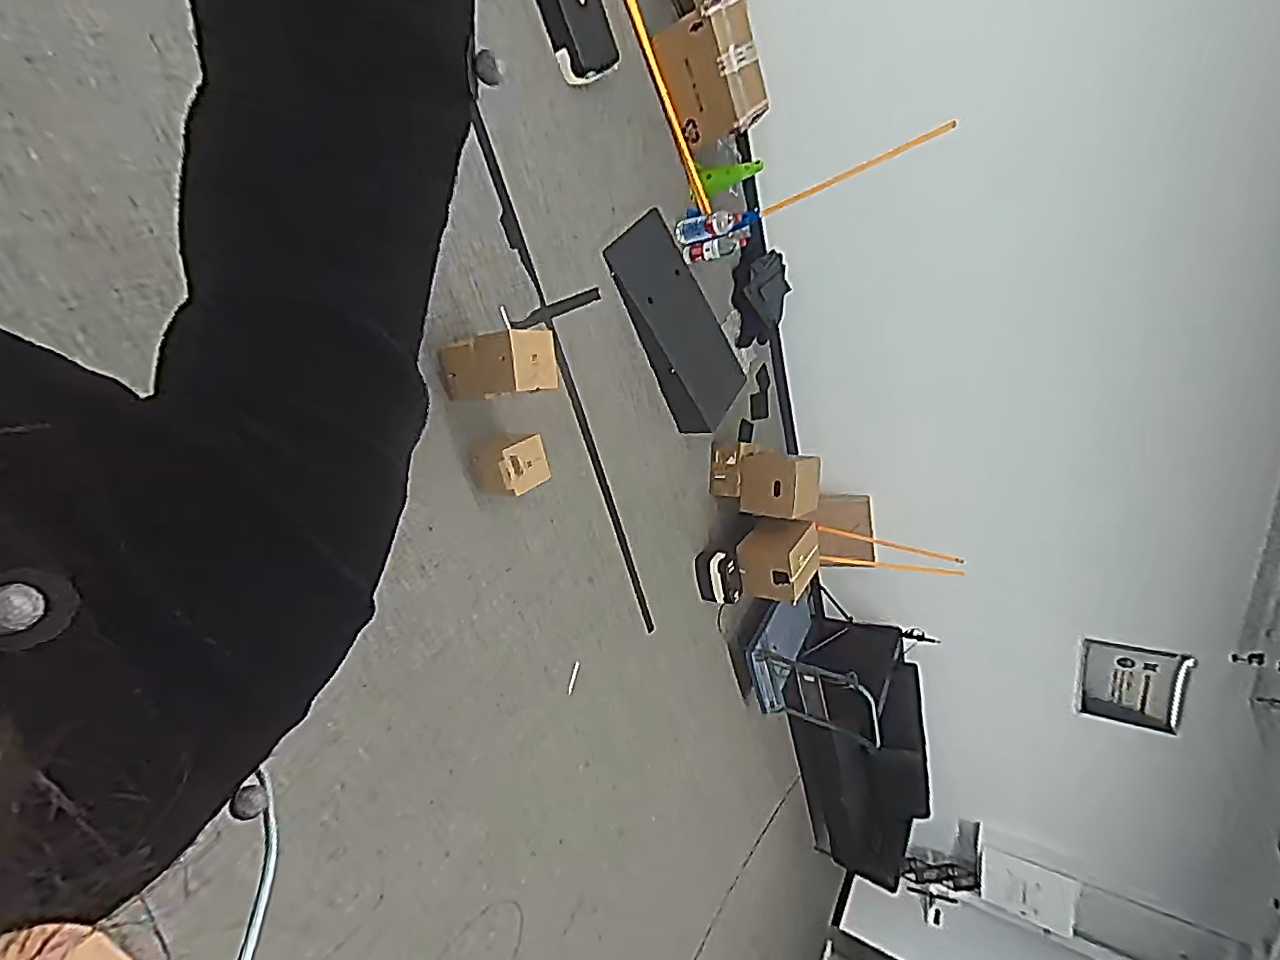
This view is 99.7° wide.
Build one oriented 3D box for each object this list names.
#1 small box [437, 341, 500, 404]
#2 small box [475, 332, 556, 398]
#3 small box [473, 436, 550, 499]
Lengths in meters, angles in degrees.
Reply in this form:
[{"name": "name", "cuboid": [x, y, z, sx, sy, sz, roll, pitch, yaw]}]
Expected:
[{"name": "small box", "cuboid": [-0.511, -0.349, 1.722, 0.168, 0.176, 0.179, -35, 121, -46]}, {"name": "small box", "cuboid": [-0.377, -0.344, 1.624, 0.168, 0.176, 0.179, -17, 106, -51]}, {"name": "small box", "cuboid": [-0.443, -0.046, 1.838, 0.179, 0.176, 0.168, -35, 120, -47]}]
